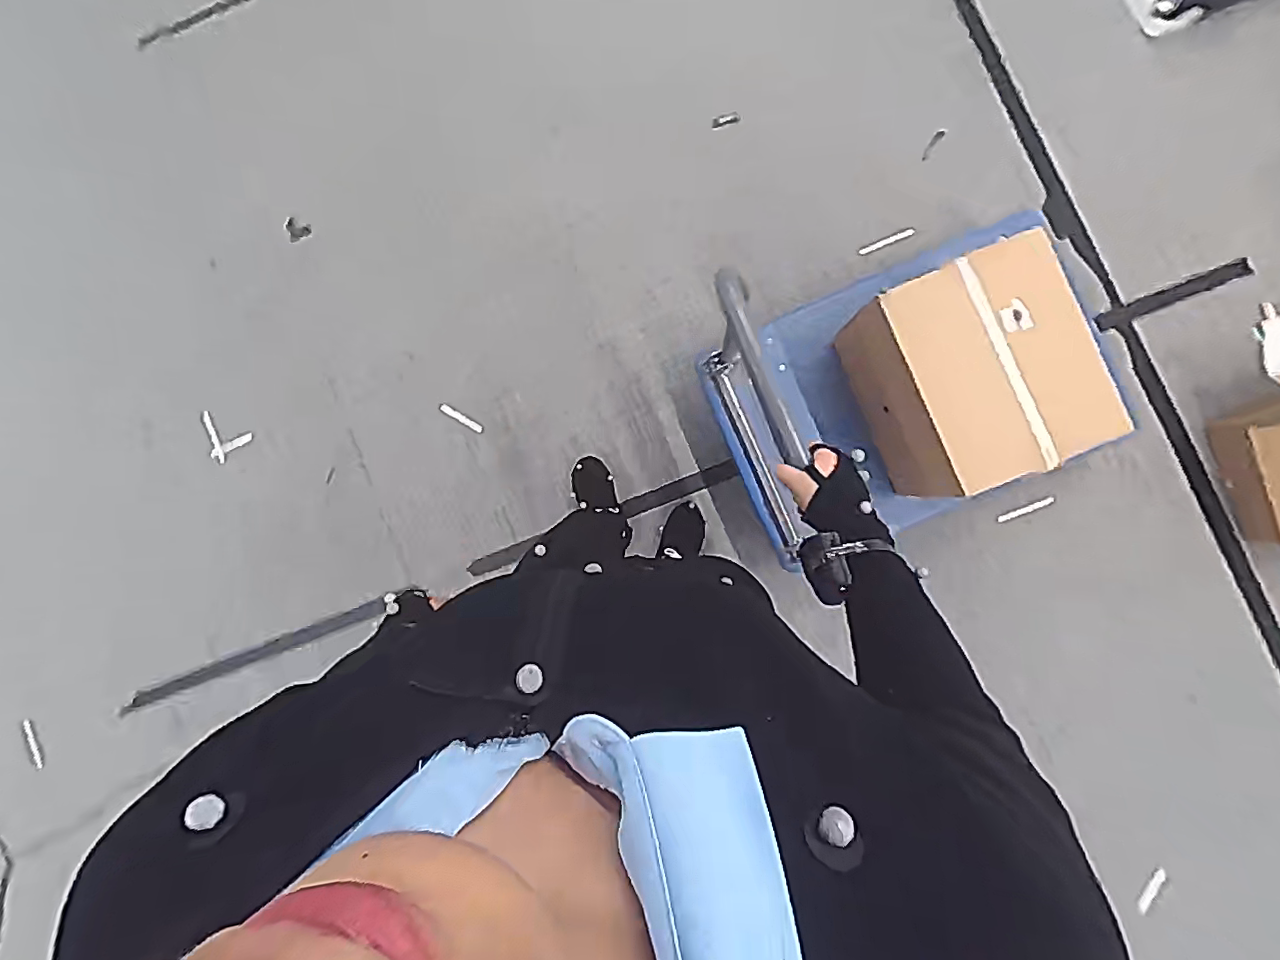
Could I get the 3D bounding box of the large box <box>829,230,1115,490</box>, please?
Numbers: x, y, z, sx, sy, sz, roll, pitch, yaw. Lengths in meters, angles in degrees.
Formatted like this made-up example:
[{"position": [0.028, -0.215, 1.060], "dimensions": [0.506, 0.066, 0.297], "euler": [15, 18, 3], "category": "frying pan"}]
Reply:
[{"position": [0.656, -0.219, 1.142], "dimensions": [0.320, 0.320, 0.408], "euler": [-23, 87, 3], "category": "large box"}]
